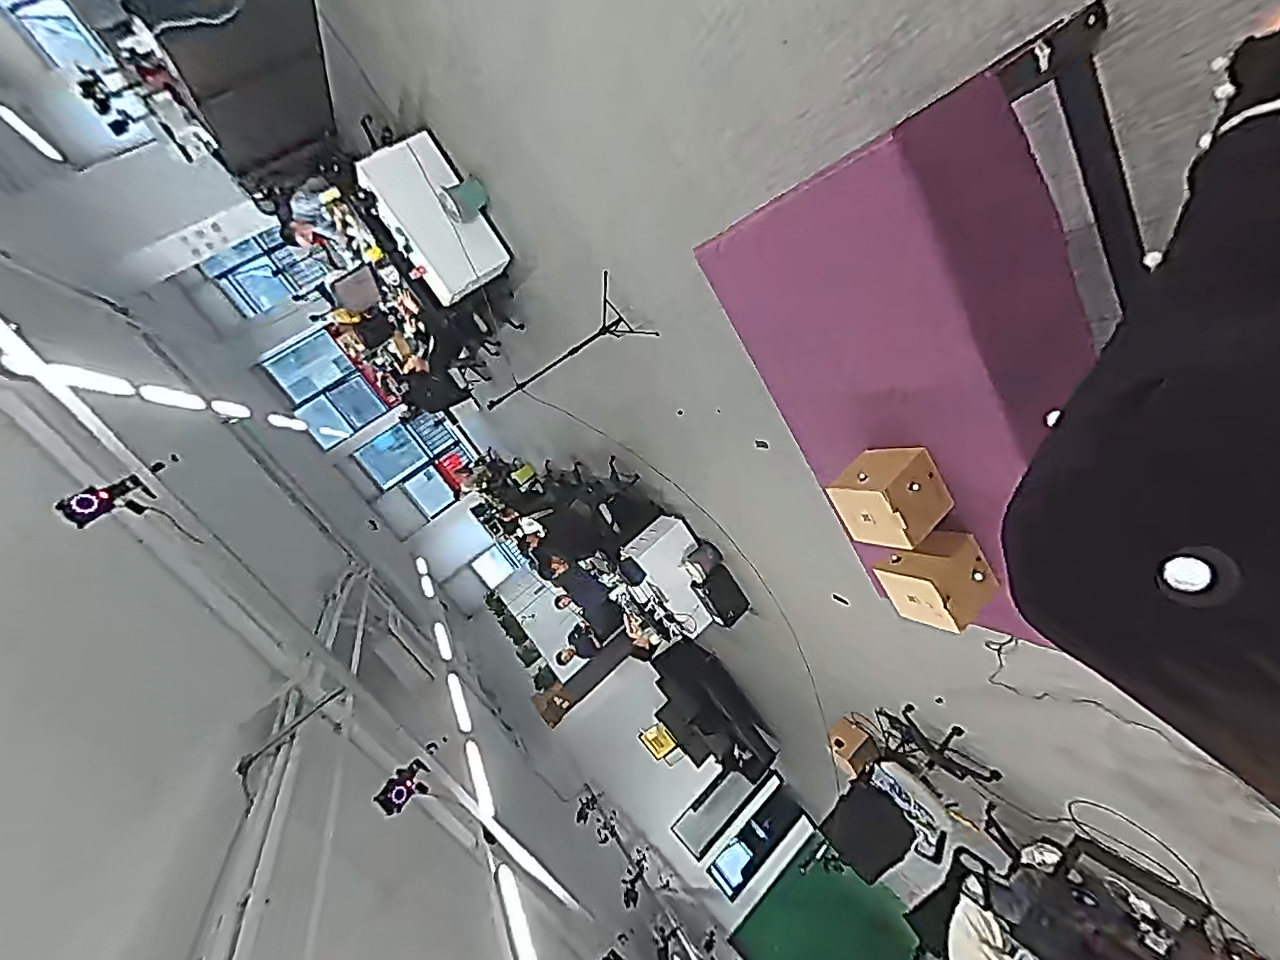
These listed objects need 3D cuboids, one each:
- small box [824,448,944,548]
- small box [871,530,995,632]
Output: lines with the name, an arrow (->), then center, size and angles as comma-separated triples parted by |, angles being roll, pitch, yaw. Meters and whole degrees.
small box -> 0.581, 0.036, 1.274 | 0.168, 0.176, 0.179 | 56, 162, -15
small box -> 0.720, 0.238, 1.330 | 0.168, 0.176, 0.179 | 54, 162, -14
